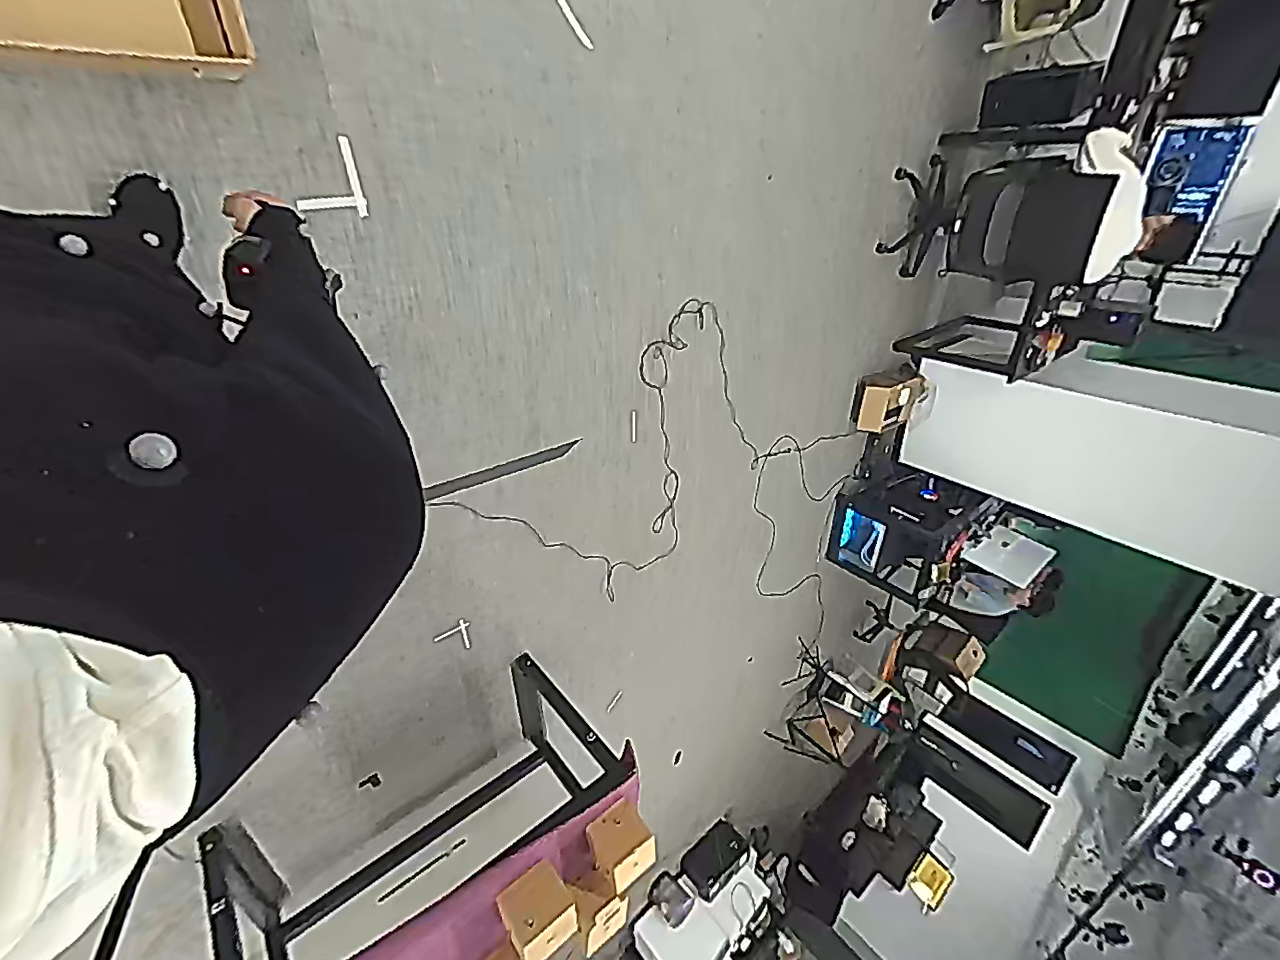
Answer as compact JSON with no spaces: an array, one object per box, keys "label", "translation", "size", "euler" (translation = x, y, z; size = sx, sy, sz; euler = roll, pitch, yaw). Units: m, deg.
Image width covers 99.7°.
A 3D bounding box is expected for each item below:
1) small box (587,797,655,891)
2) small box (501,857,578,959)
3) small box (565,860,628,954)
[{"label":"small box","translation":[-0.064,1.235,1.845],"size":[0.168,0.176,0.179],"euler":[-25,127,-31]},{"label":"small box","translation":[-0.310,1.317,1.653],"size":[0.179,0.176,0.168],"euler":[-23,126,-35]},{"label":"small box","translation":[-0.161,1.474,1.886],"size":[0.168,0.176,0.179],"euler":[-16,122,-37]}]
